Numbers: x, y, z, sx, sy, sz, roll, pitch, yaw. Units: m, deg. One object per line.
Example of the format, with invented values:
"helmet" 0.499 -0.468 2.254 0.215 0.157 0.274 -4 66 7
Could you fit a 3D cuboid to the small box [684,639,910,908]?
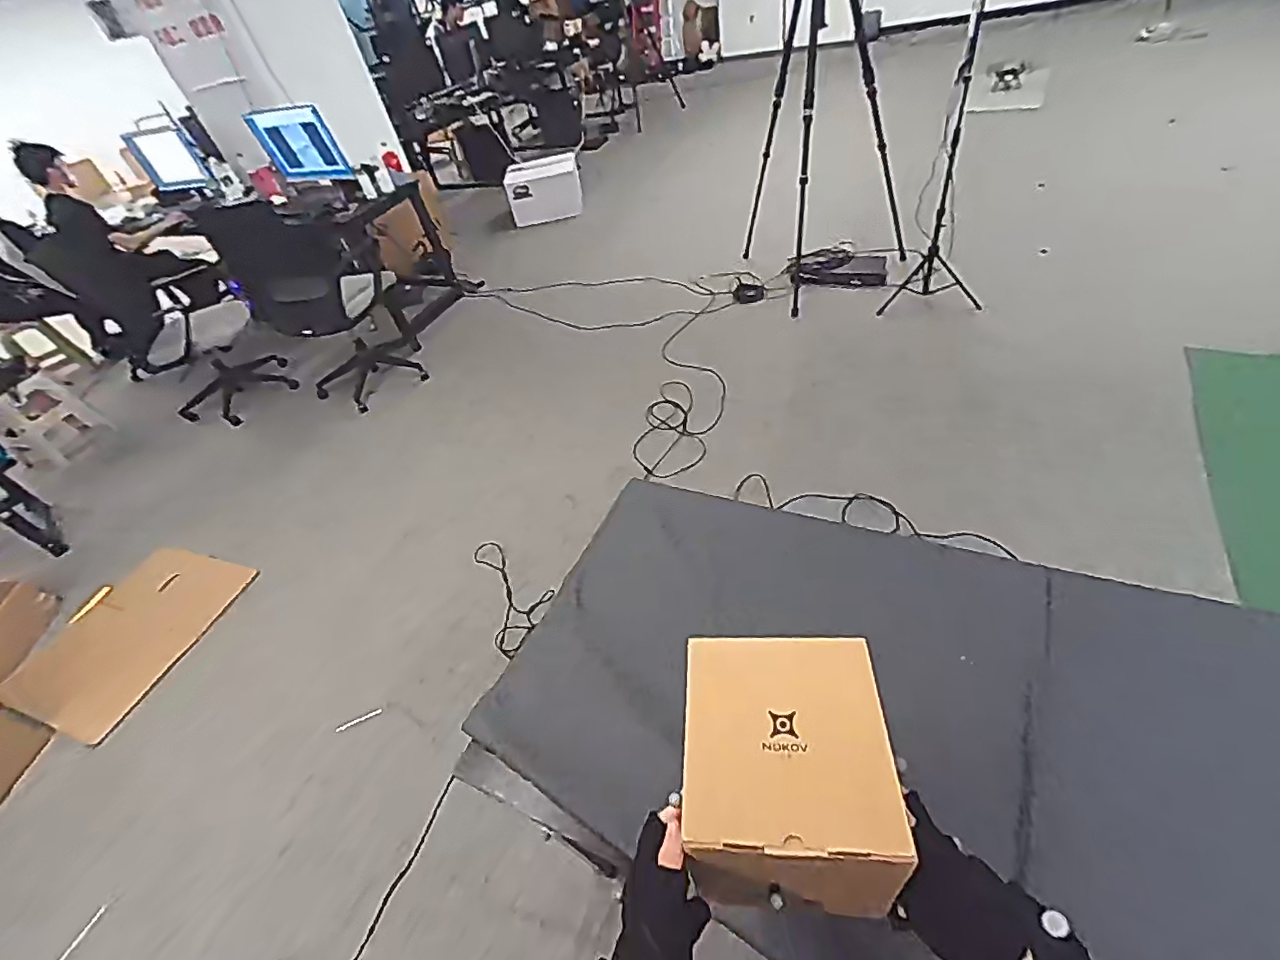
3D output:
"small box" 0.134 0.274 0.514 0.168 0.176 0.179 -2 43 10
